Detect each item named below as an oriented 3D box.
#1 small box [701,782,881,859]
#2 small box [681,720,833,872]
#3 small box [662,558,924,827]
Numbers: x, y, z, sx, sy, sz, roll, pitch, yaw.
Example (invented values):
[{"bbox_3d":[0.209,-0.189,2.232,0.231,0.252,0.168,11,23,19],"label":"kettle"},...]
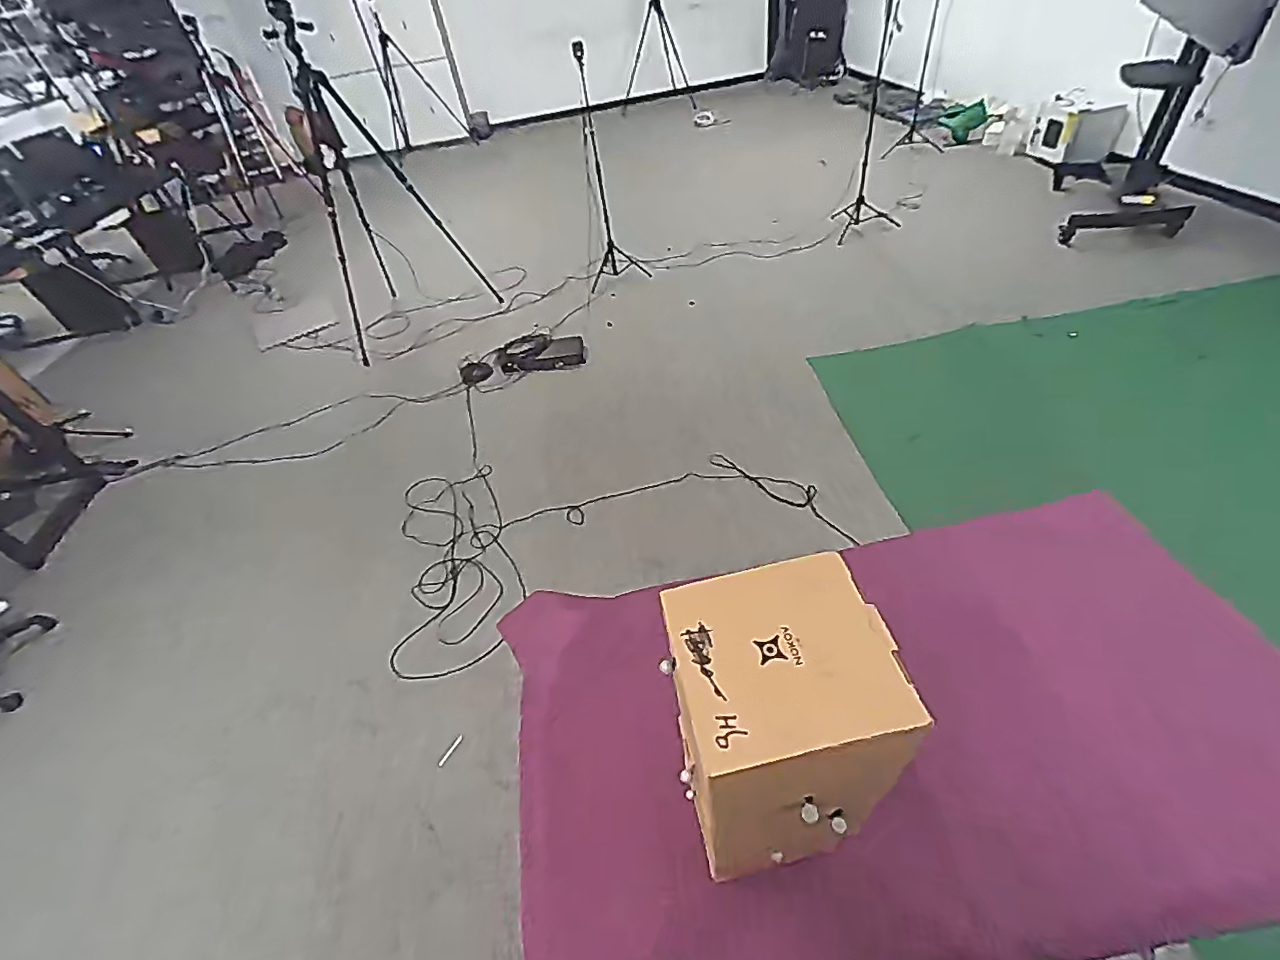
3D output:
[{"bbox_3d":[0.147,0.314,0.628,0.179,0.176,0.168,-12,44,0],"label":"small box"},{"bbox_3d":[0.164,0.420,0.754,0.179,0.176,0.168,-14,45,-1],"label":"small box"},{"bbox_3d":[0.125,0.202,0.511,0.179,0.176,0.168,-12,44,-2],"label":"small box"}]
